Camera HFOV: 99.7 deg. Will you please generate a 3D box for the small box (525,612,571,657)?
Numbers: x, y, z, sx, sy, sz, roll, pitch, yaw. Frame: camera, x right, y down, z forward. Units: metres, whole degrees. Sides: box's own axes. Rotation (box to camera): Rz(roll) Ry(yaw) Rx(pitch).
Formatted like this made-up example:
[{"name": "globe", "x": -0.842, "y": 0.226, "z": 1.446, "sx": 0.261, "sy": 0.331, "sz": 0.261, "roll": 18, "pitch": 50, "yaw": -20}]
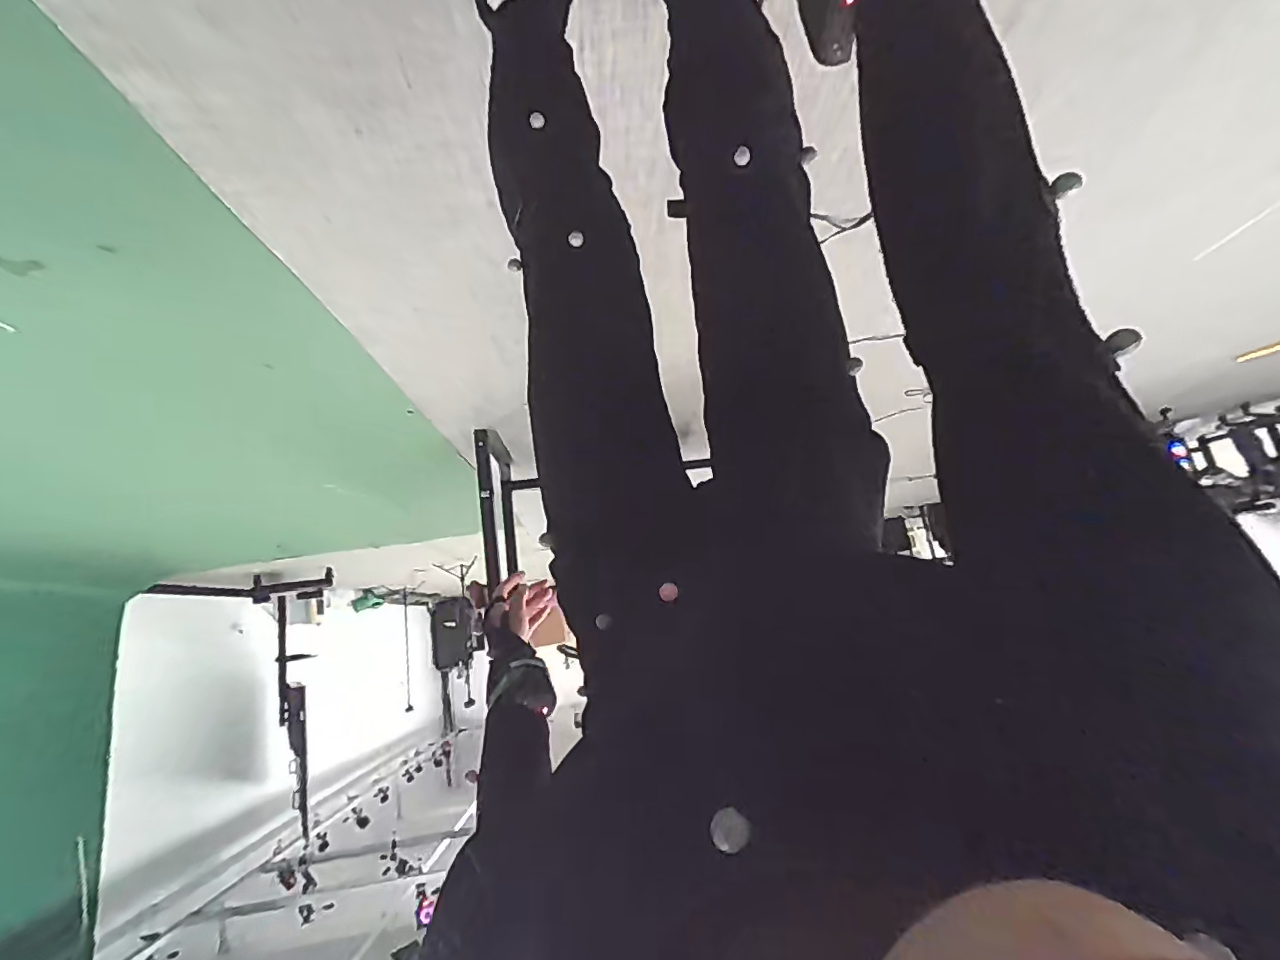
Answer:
[{"name": "small box", "x": -0.407, "y": 0.684, "z": 2.406, "sx": 0.168, "sy": 0.176, "sz": 0.179, "roll": -10, "pitch": 164, "yaw": -2}]
